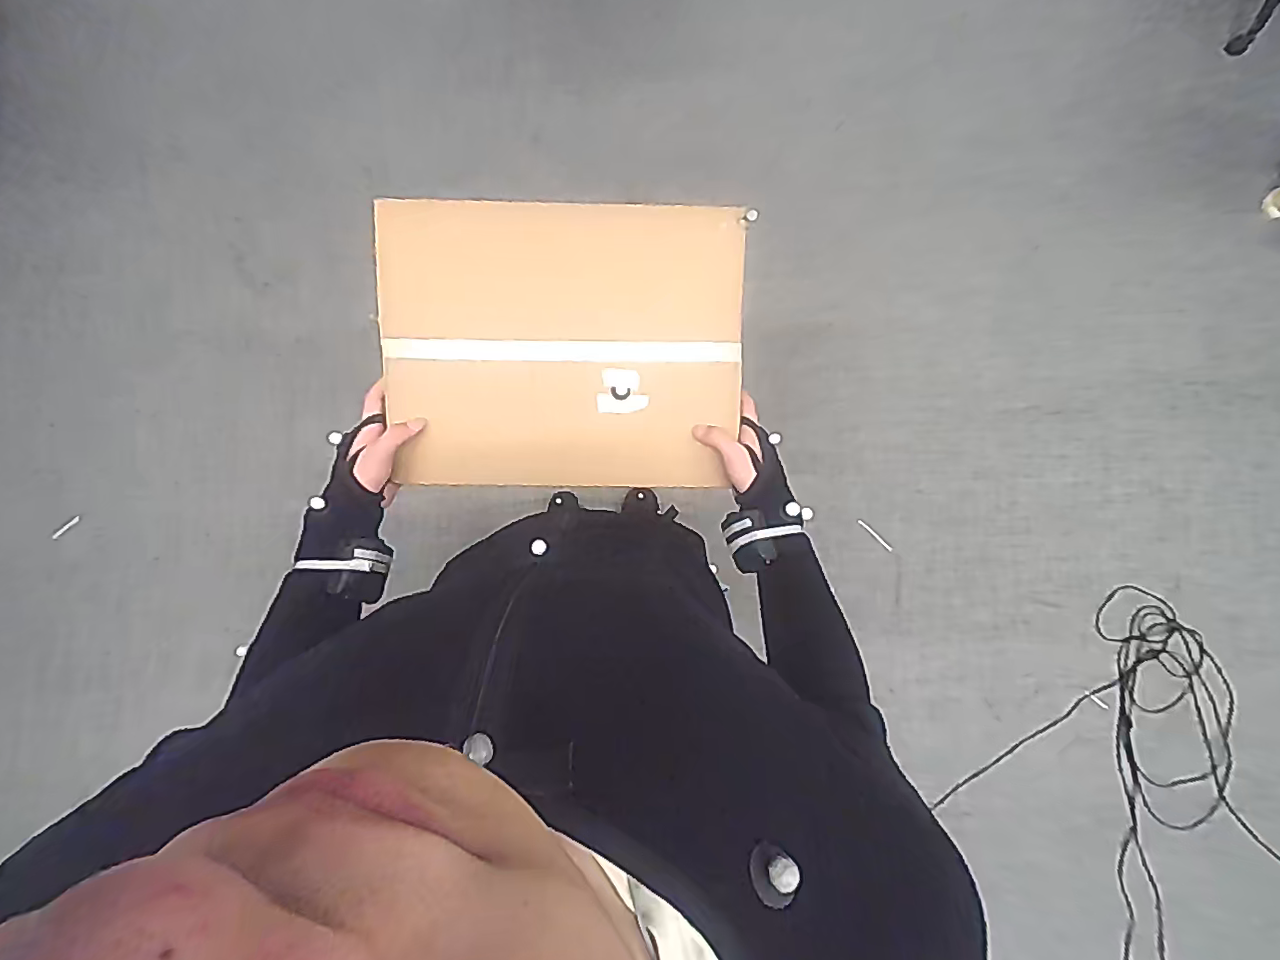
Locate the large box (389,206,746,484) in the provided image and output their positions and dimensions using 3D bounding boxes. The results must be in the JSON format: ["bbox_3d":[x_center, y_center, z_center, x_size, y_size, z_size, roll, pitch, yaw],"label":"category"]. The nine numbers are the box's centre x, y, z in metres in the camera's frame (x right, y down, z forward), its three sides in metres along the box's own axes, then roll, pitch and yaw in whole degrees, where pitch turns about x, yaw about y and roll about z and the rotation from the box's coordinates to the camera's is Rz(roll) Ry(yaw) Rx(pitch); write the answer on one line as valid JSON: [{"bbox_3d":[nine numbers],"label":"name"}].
[{"bbox_3d":[-0.084,-0.173,0.769,0.408,0.320,0.320,0,100,-2],"label":"large box"}]

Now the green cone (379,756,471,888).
[{"bbox_3d":[-0.602,0.925,1.437,0.200,0.368,0.202,5,90,-3],"label":"green cone"}]
